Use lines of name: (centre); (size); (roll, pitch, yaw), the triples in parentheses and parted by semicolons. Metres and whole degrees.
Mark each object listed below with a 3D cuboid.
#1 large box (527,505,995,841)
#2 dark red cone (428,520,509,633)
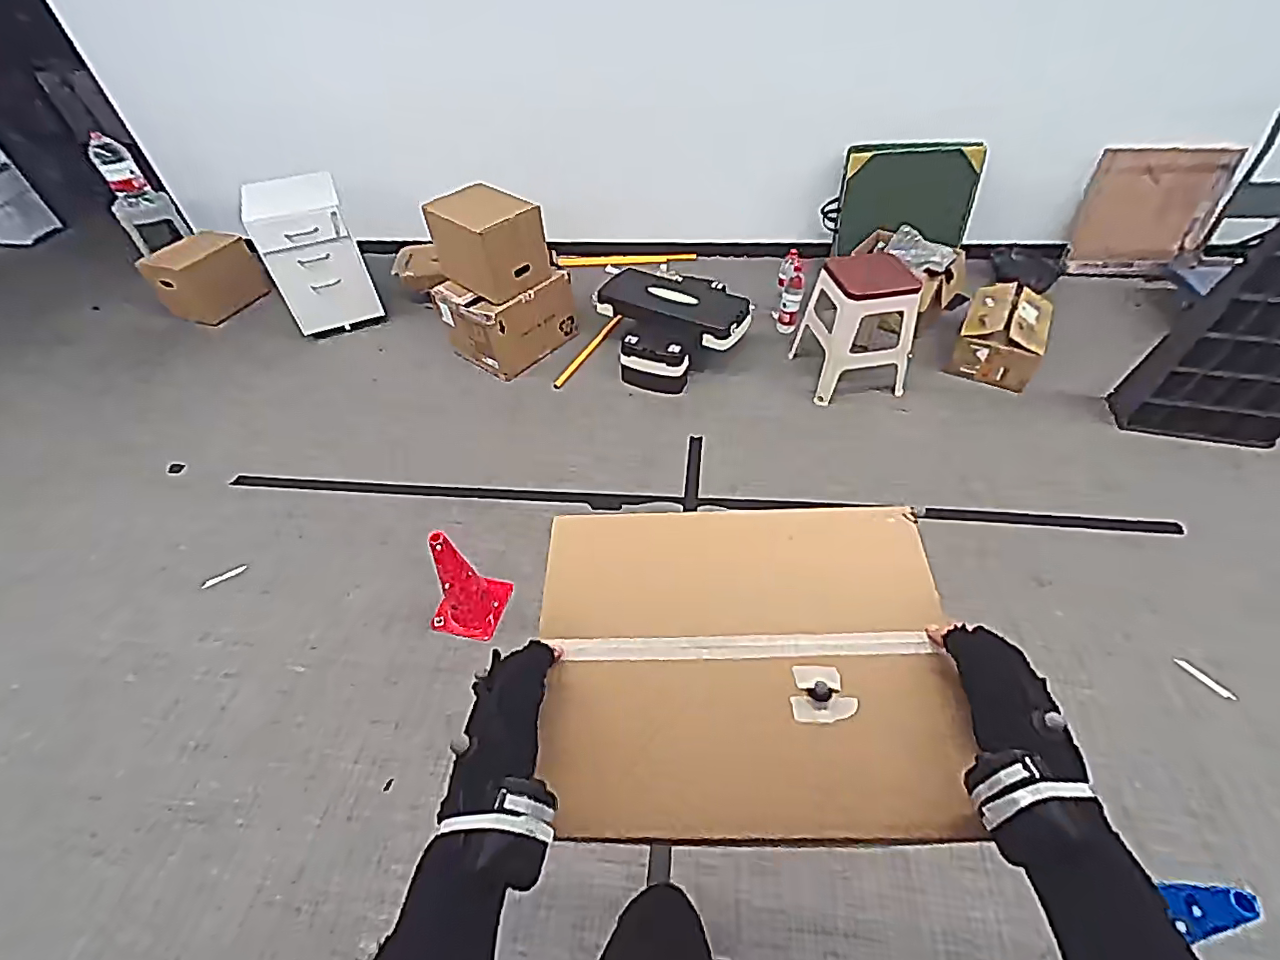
large box: (0.105, 0.247, 0.660); (0.408, 0.320, 0.320); (-2, 55, 3)
dark red cone: (-0.521, 0.251, 1.524); (0.201, 0.394, 0.202); (8, 49, 9)
